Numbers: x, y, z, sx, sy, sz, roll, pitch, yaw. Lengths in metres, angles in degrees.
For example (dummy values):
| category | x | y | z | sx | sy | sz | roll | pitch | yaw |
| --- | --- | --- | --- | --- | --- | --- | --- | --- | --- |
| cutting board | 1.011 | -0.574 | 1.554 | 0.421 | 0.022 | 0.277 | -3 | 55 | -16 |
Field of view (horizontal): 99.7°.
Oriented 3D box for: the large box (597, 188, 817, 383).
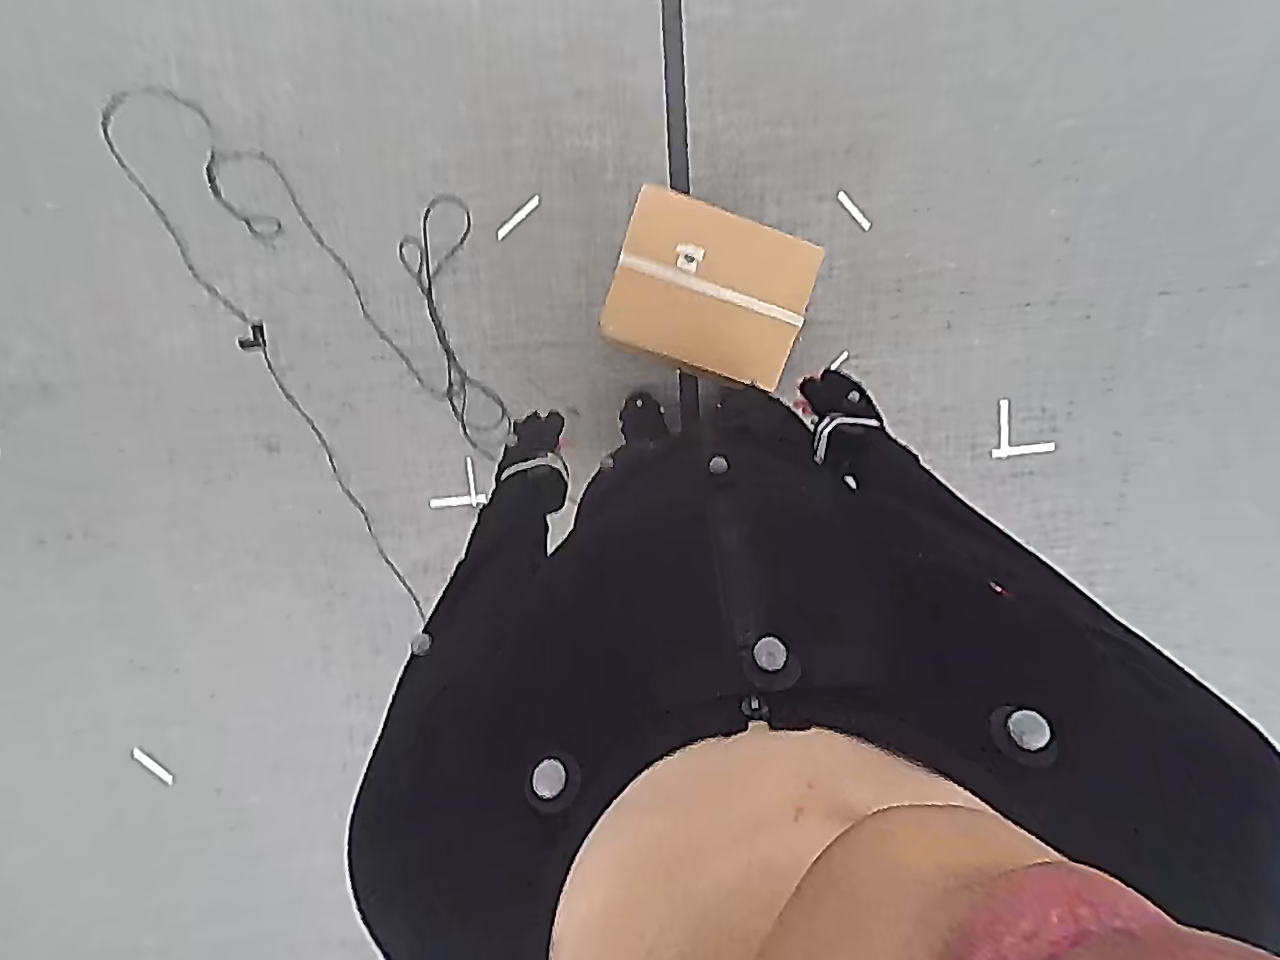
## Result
| category | x | y | z | sx | sy | sz | roll | pitch | yaw |
| --- | --- | --- | --- | --- | --- | --- | --- | --- | --- |
| large box | 0.140 | -0.429 | 1.280 | 0.408 | 0.320 | 0.320 | 16 | 99 | -3 |
